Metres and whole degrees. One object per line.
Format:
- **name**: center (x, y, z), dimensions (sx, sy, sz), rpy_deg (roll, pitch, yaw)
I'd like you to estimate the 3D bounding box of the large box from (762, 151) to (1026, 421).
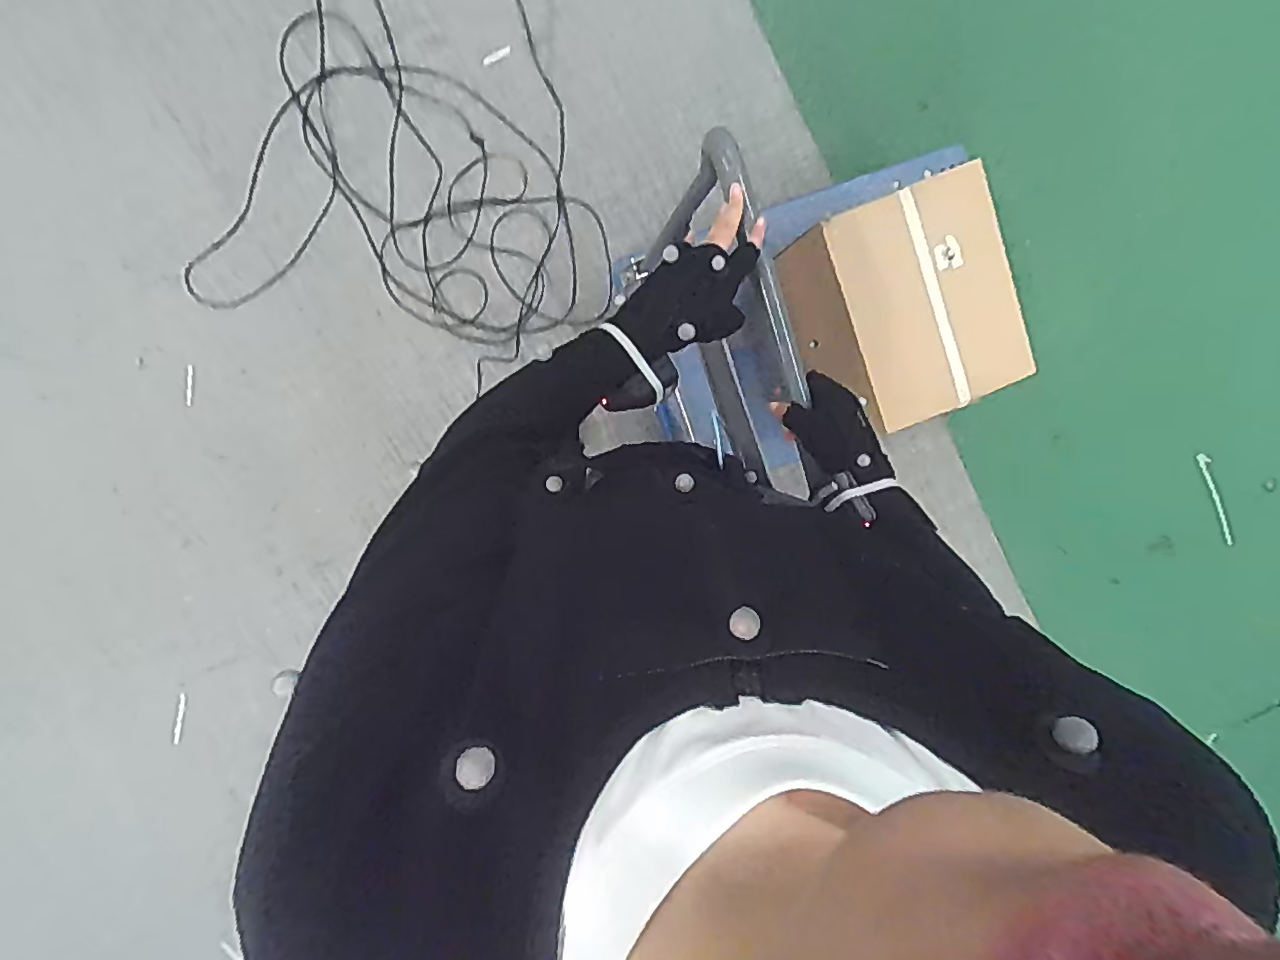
- **large box**: center (0.503, -0.368, 1.132), dimensions (0.320, 0.320, 0.408), rpy_deg (-23, 99, -3)
